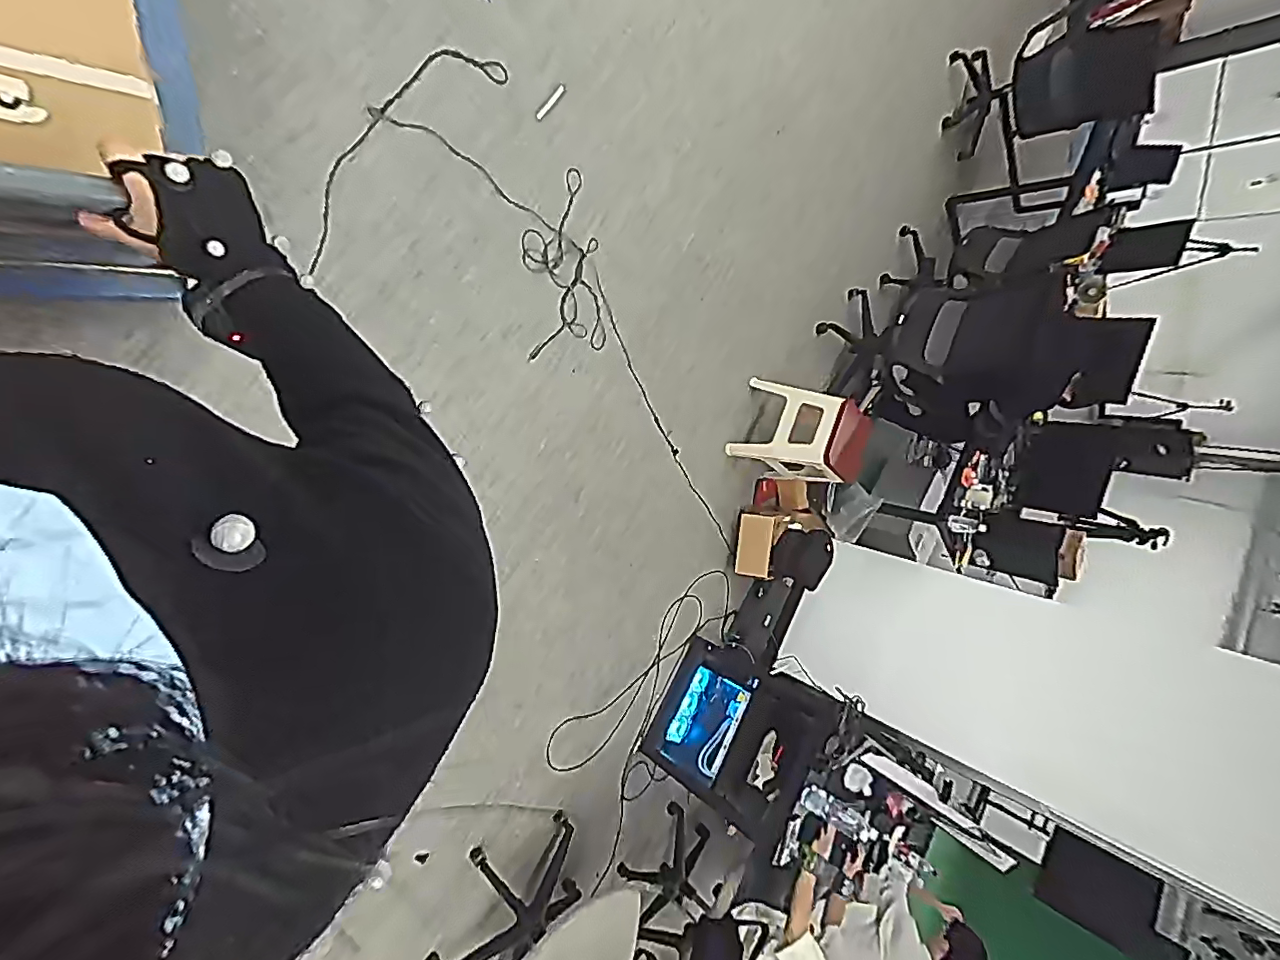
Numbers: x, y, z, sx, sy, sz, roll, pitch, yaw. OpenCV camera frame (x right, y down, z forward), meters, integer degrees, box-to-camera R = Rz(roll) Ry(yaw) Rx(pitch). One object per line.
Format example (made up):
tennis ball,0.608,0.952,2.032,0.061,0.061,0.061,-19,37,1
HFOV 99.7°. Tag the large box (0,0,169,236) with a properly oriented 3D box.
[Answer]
large box,-0.902,-0.513,0.681,0.408,0.320,0.320,-14,111,-43
